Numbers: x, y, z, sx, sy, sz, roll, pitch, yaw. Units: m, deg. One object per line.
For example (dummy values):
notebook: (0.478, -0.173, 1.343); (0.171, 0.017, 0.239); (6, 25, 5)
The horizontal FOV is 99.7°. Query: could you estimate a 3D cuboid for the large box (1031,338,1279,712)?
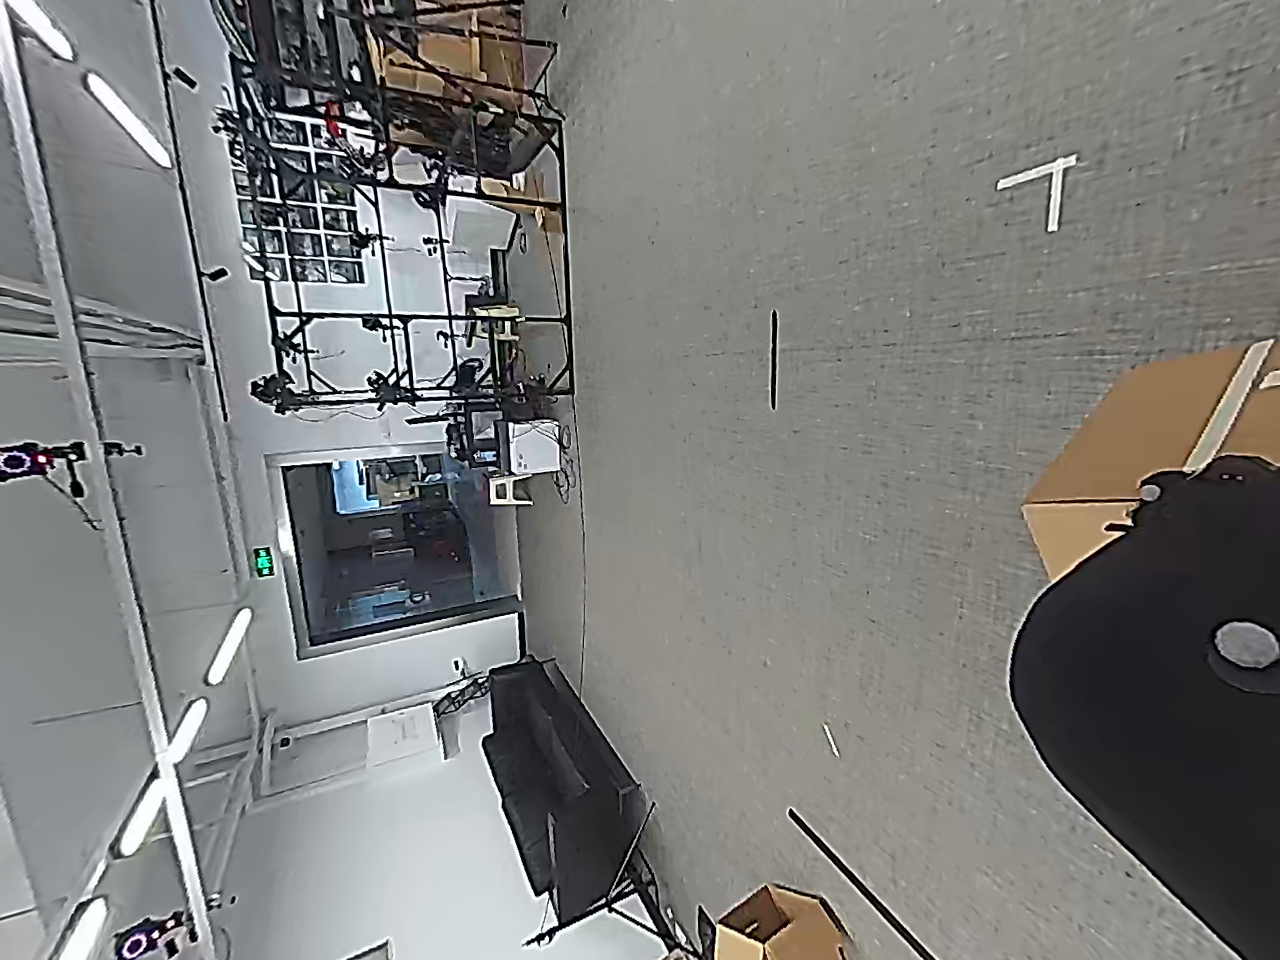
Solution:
large box: (0.795, 0.044, 0.689); (0.320, 0.408, 0.320); (-7, 115, 61)
